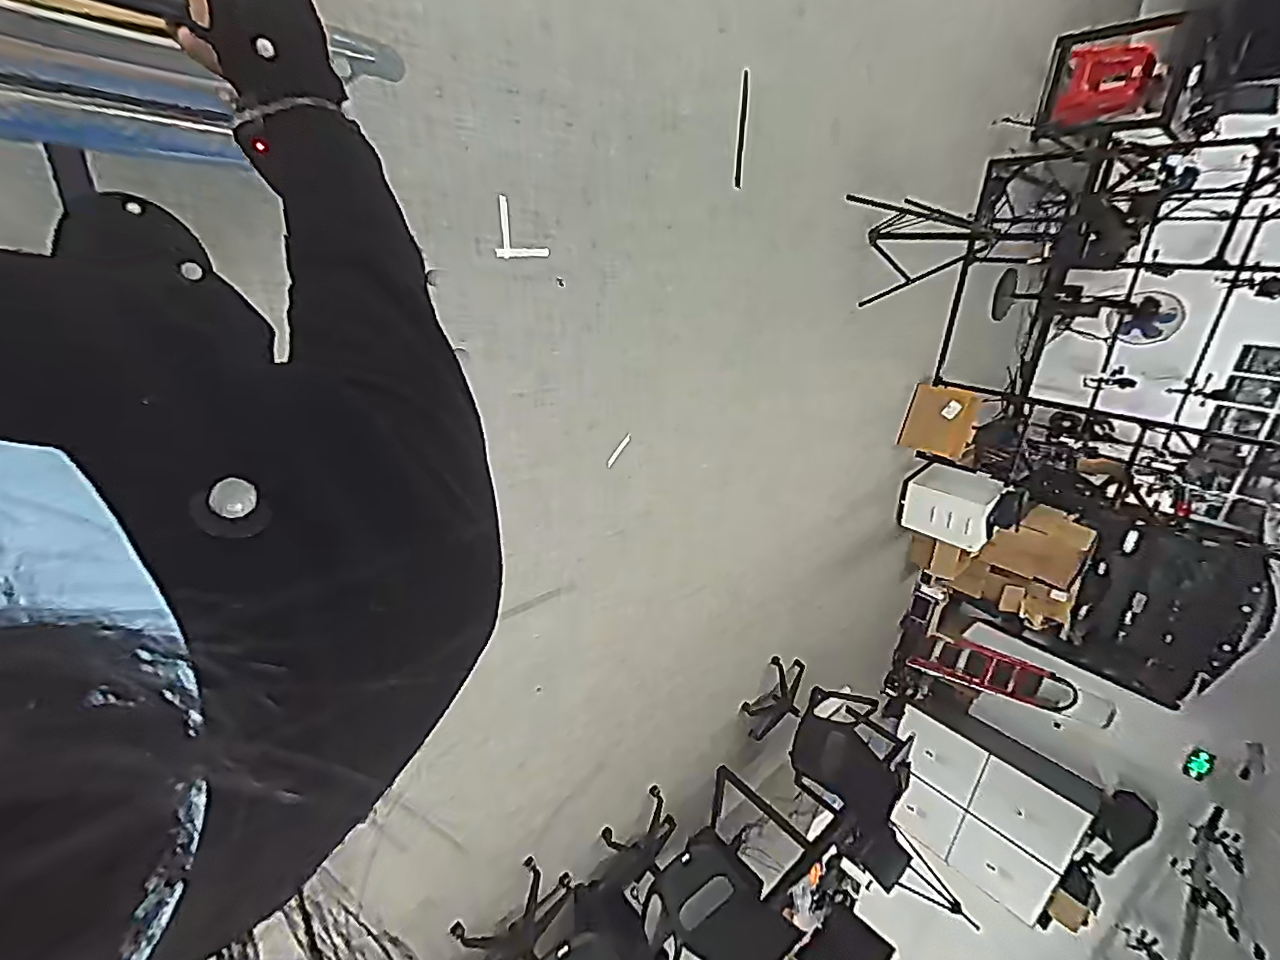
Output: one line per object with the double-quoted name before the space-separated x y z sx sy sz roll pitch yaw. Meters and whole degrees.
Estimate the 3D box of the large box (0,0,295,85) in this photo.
"large box" -0.737 -0.748 0.688 0.408 0.320 0.320 -20 122 -39
